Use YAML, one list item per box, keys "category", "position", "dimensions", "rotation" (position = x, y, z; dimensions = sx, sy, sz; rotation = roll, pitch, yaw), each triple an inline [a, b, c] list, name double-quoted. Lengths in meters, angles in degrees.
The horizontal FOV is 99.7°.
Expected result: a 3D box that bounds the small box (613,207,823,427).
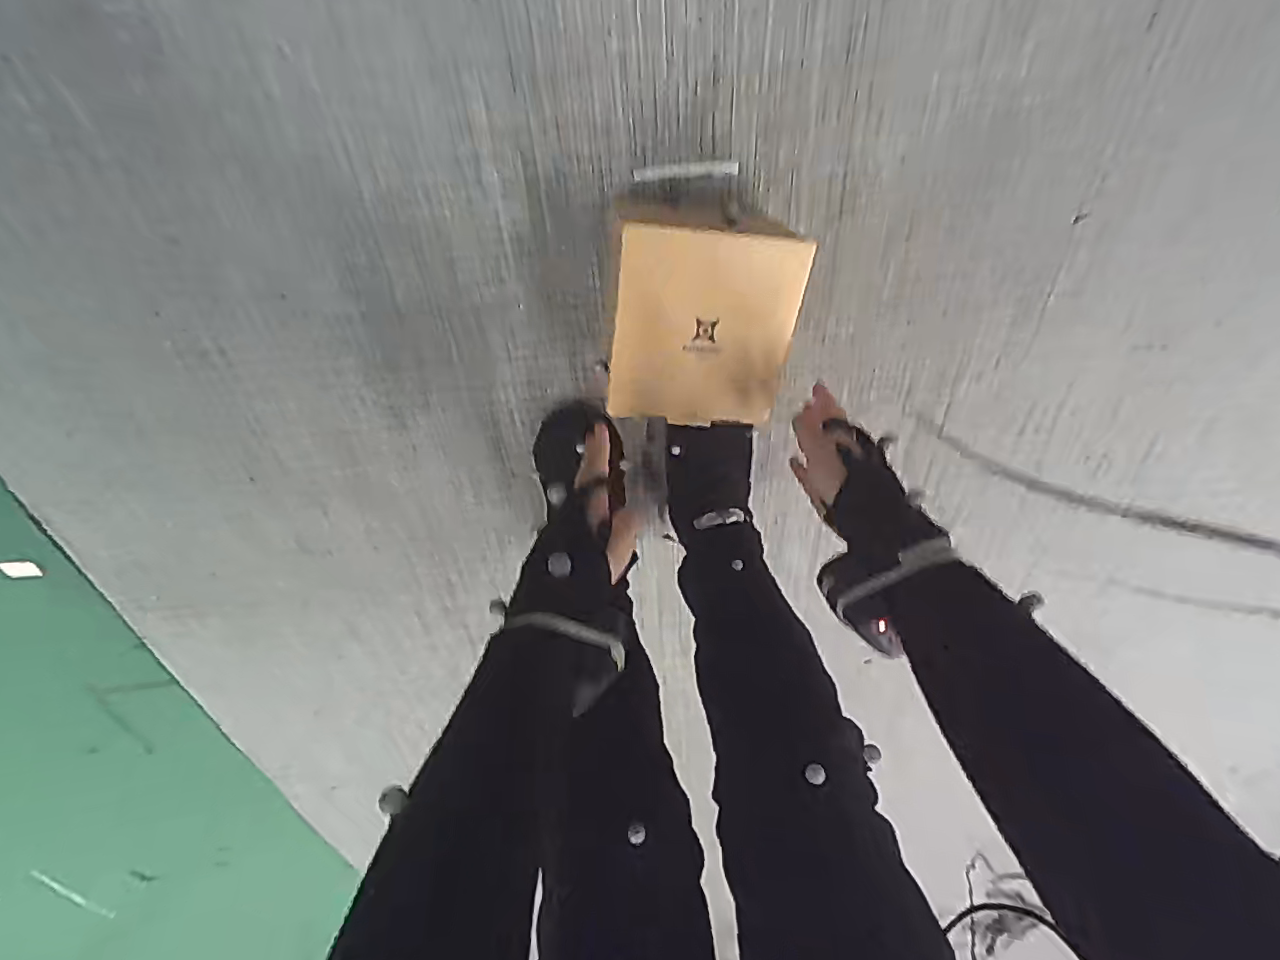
- category: "small box"
  position: [0.063, -0.176, 0.570]
  dimensions: [0.168, 0.176, 0.179]
  rotation: [3, 125, -8]
